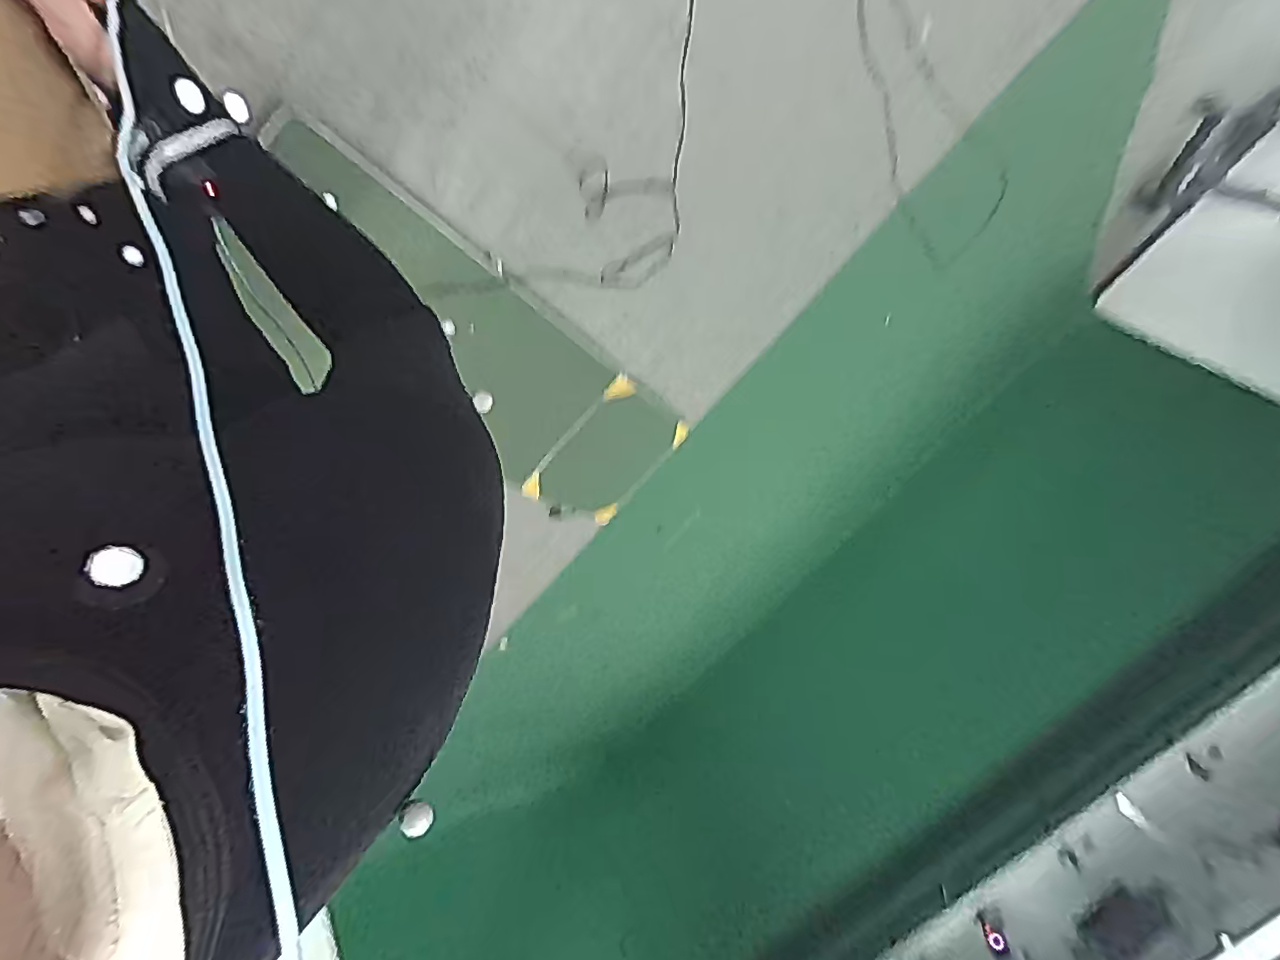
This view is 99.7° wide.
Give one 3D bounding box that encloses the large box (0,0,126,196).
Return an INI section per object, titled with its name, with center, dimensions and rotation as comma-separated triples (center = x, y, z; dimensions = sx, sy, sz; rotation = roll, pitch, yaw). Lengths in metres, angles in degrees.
[large box]
center = -0.671, -0.359, 0.324
dimensions = 0.408, 0.320, 0.320
rotation = -31, 151, -25
